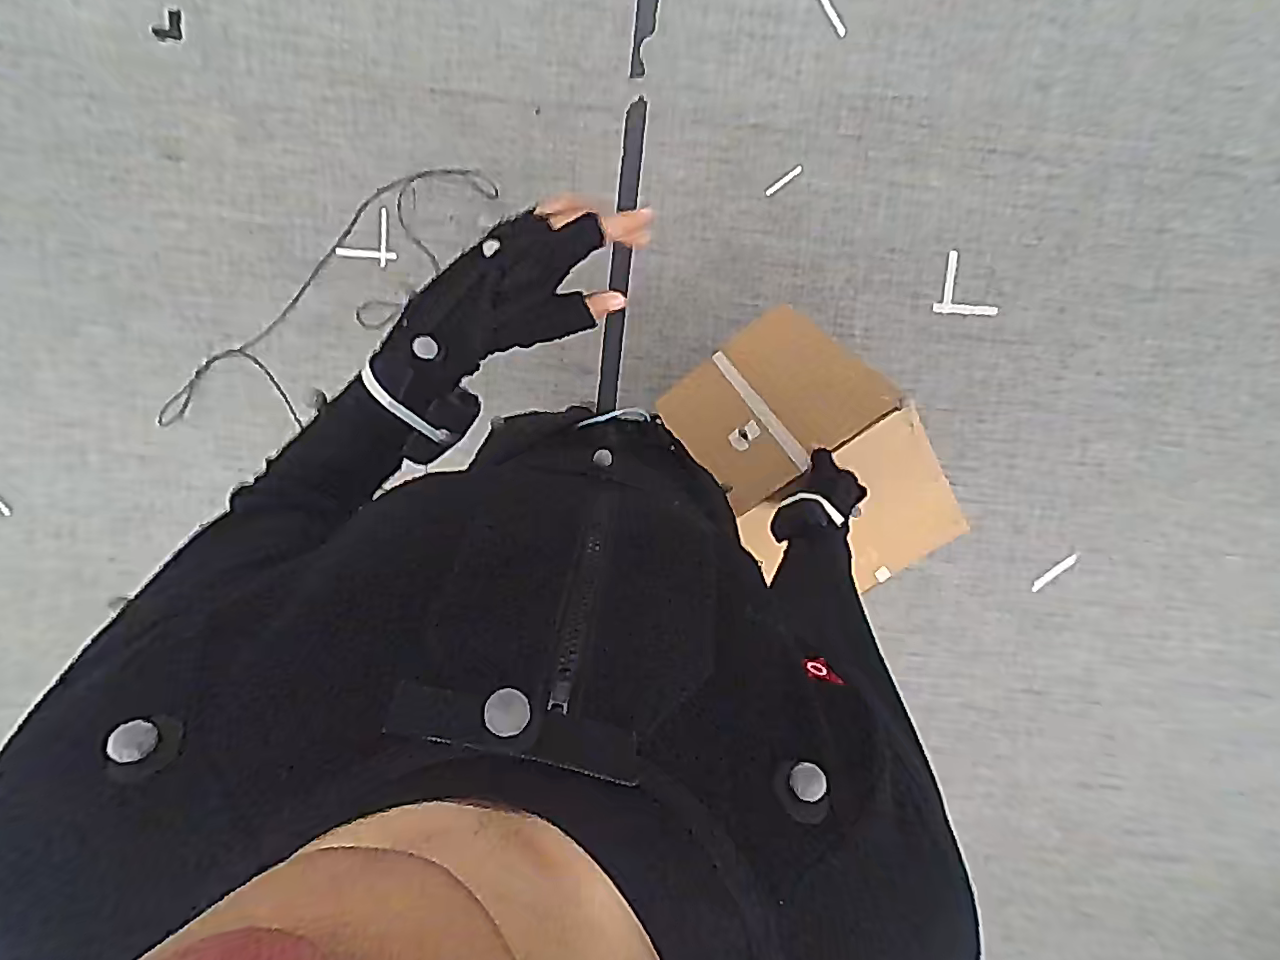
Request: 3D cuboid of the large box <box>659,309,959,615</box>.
[{"bbox_3d":[0.284,-0.042,0.987,0.320,0.408,0.320,-37,126,13],"label":"large box"}]
